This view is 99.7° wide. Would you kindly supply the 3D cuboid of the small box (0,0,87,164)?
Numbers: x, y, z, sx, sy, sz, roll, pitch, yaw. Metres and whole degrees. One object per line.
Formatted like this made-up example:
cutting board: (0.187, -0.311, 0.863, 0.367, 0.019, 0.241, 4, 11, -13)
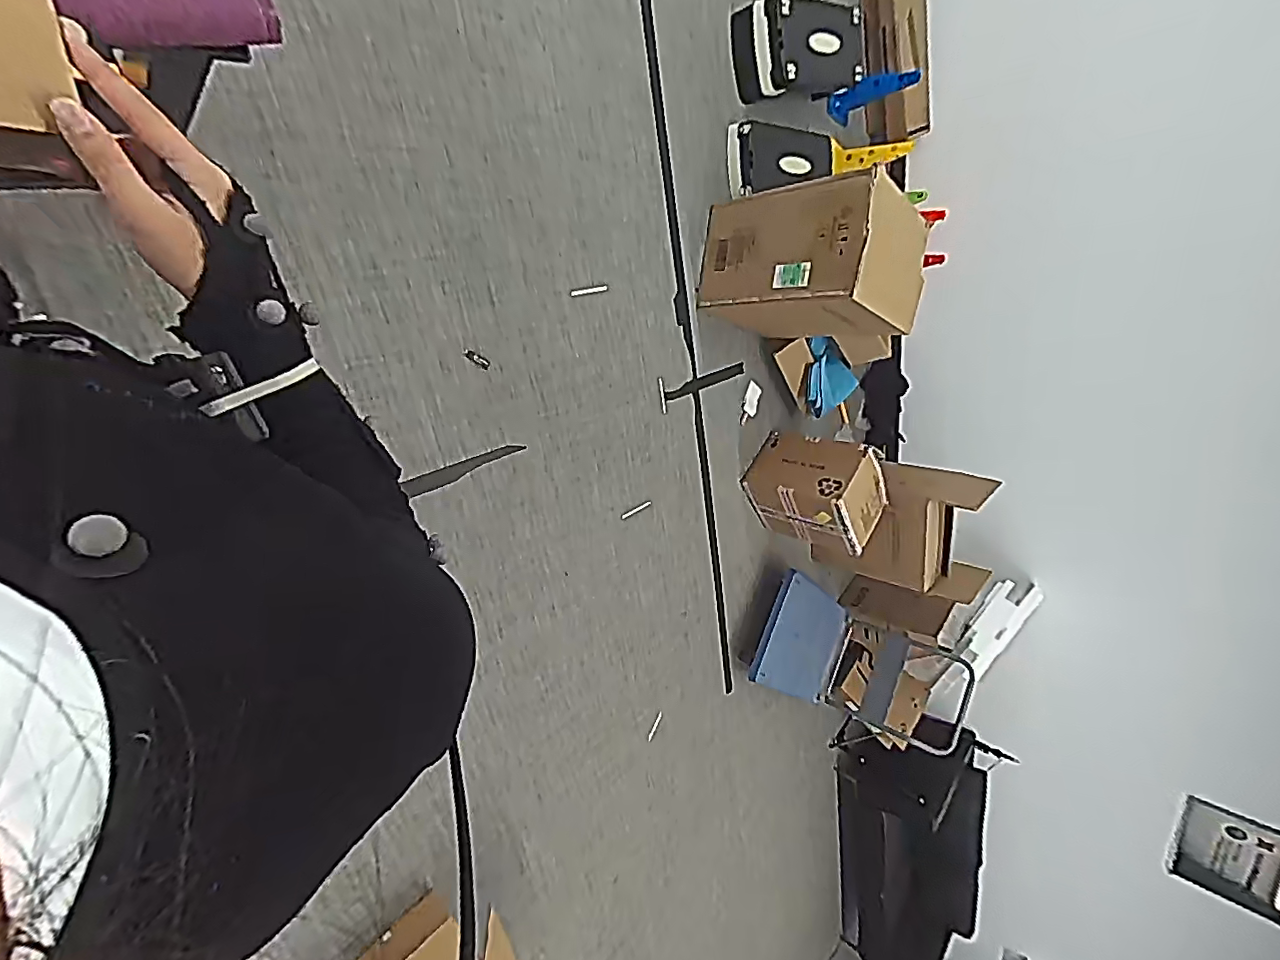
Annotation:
small box: (-0.405, -0.260, 0.253, 0.179, 0.176, 0.168, -17, 119, -44)
